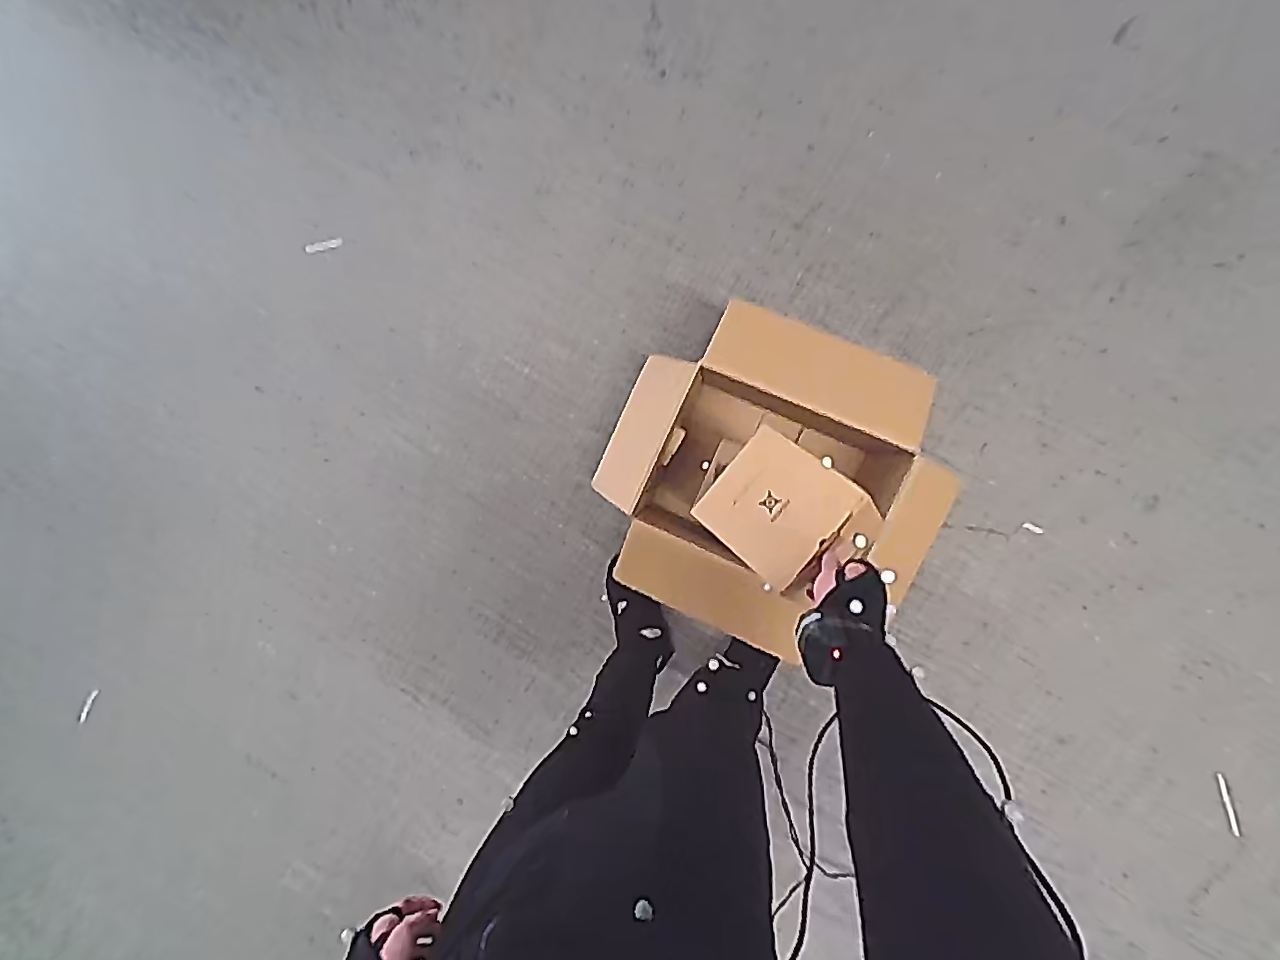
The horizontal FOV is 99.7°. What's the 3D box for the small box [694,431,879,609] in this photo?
[{"bbox_3d":[0.216,0.066,0.776,0.168,0.176,0.179,-48,53,3],"label":"small box"}]
